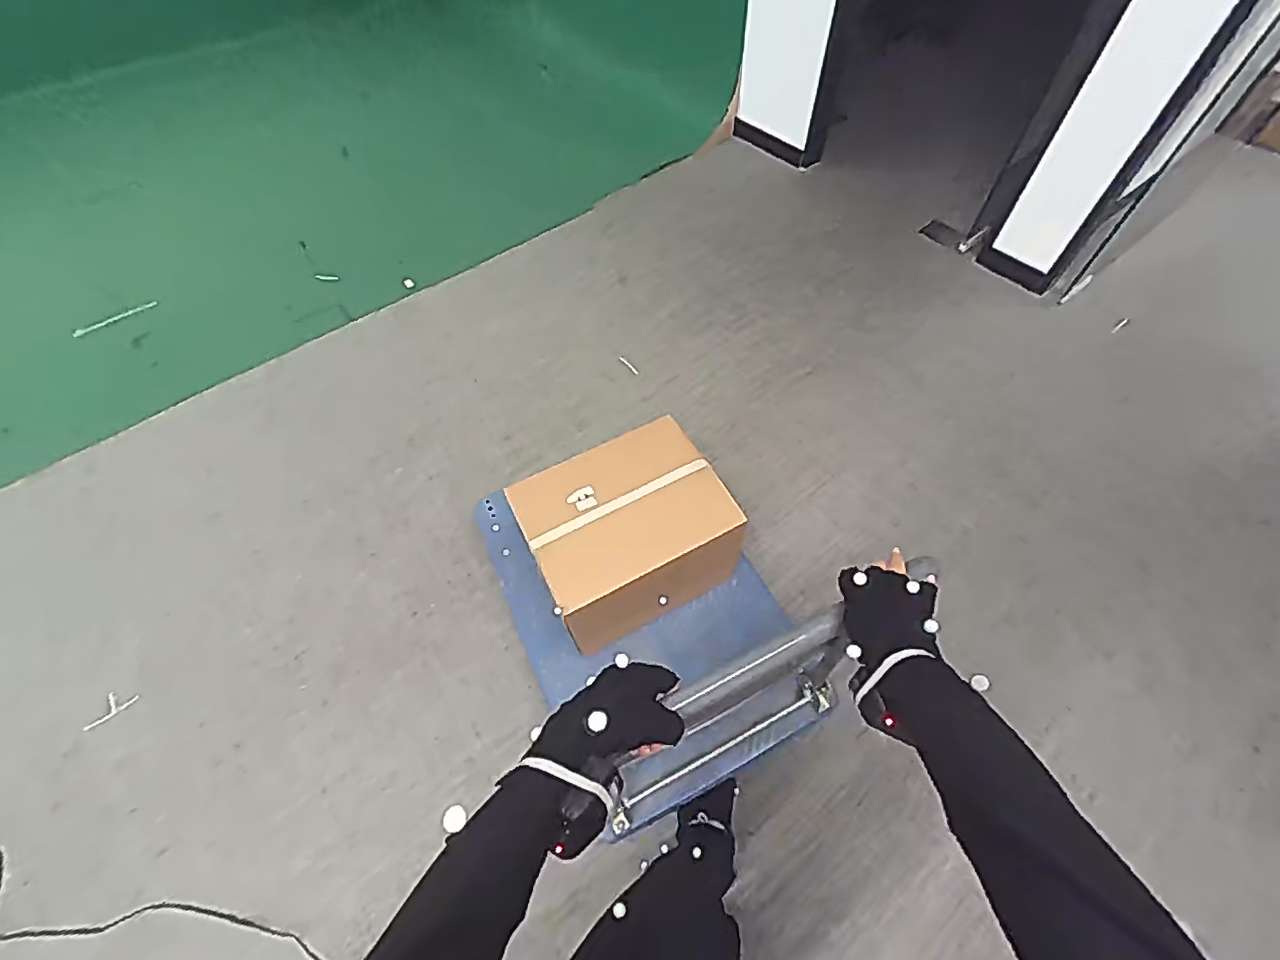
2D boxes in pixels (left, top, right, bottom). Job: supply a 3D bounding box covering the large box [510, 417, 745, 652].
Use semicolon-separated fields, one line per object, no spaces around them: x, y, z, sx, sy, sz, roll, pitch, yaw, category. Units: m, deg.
-0.025;0.130;1.234;0.408;0.320;0.320;-26;61;-13;large box
